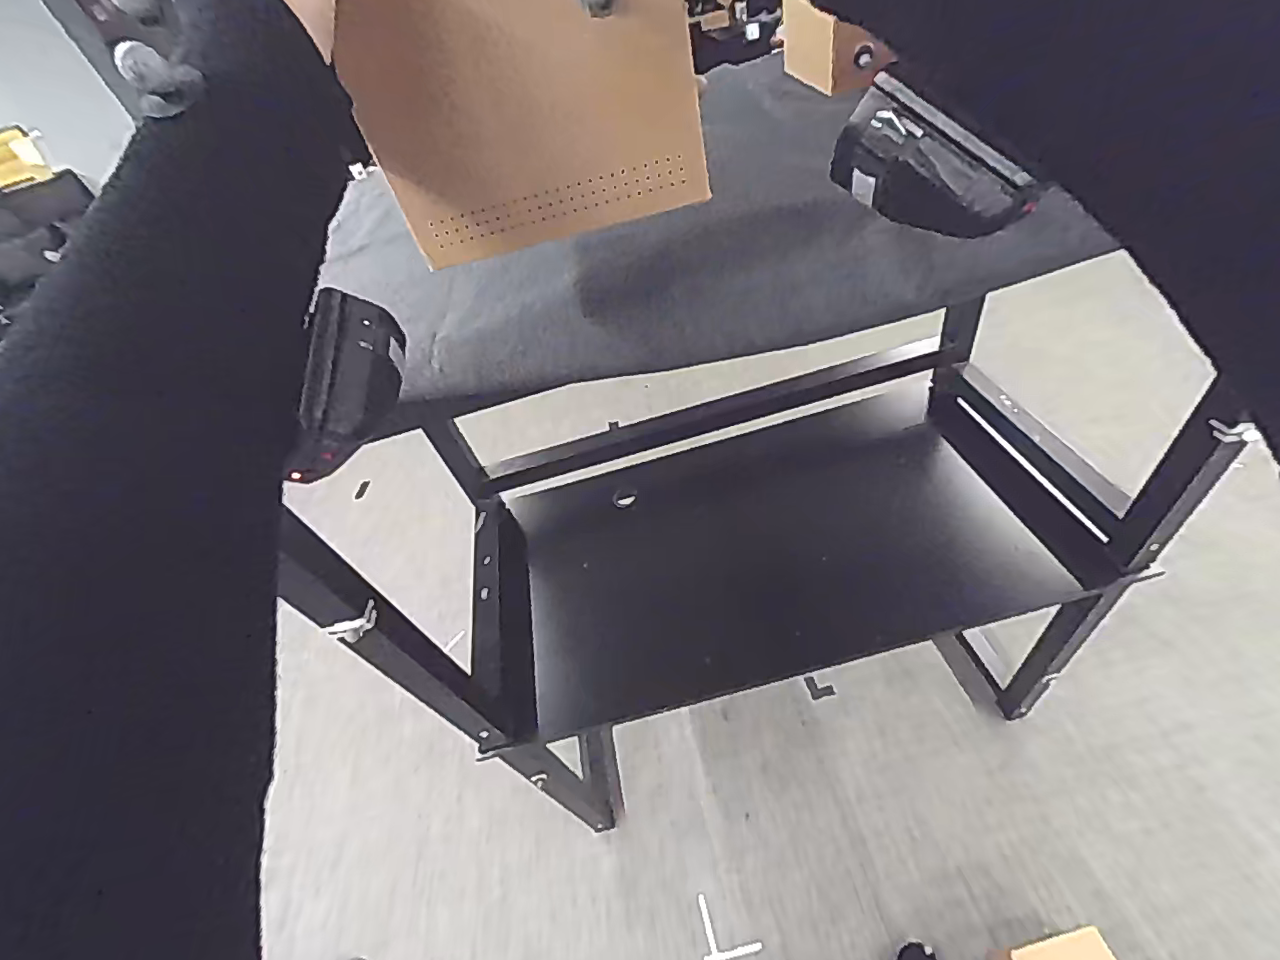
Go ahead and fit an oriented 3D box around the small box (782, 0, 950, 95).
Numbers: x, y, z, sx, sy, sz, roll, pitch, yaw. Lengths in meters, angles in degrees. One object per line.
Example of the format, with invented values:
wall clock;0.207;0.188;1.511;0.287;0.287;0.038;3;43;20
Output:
small box;0.266;-0.565;0.613;0.168;0.176;0.179;-14;44;4

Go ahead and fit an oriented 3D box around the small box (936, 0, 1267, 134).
small box;0.366;-0.409;0.433;0.179;0.176;0.168;-9;44;10

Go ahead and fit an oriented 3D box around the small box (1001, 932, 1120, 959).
small box;0.827;0.988;1.025;0.179;0.176;0.168;-18;45;1
